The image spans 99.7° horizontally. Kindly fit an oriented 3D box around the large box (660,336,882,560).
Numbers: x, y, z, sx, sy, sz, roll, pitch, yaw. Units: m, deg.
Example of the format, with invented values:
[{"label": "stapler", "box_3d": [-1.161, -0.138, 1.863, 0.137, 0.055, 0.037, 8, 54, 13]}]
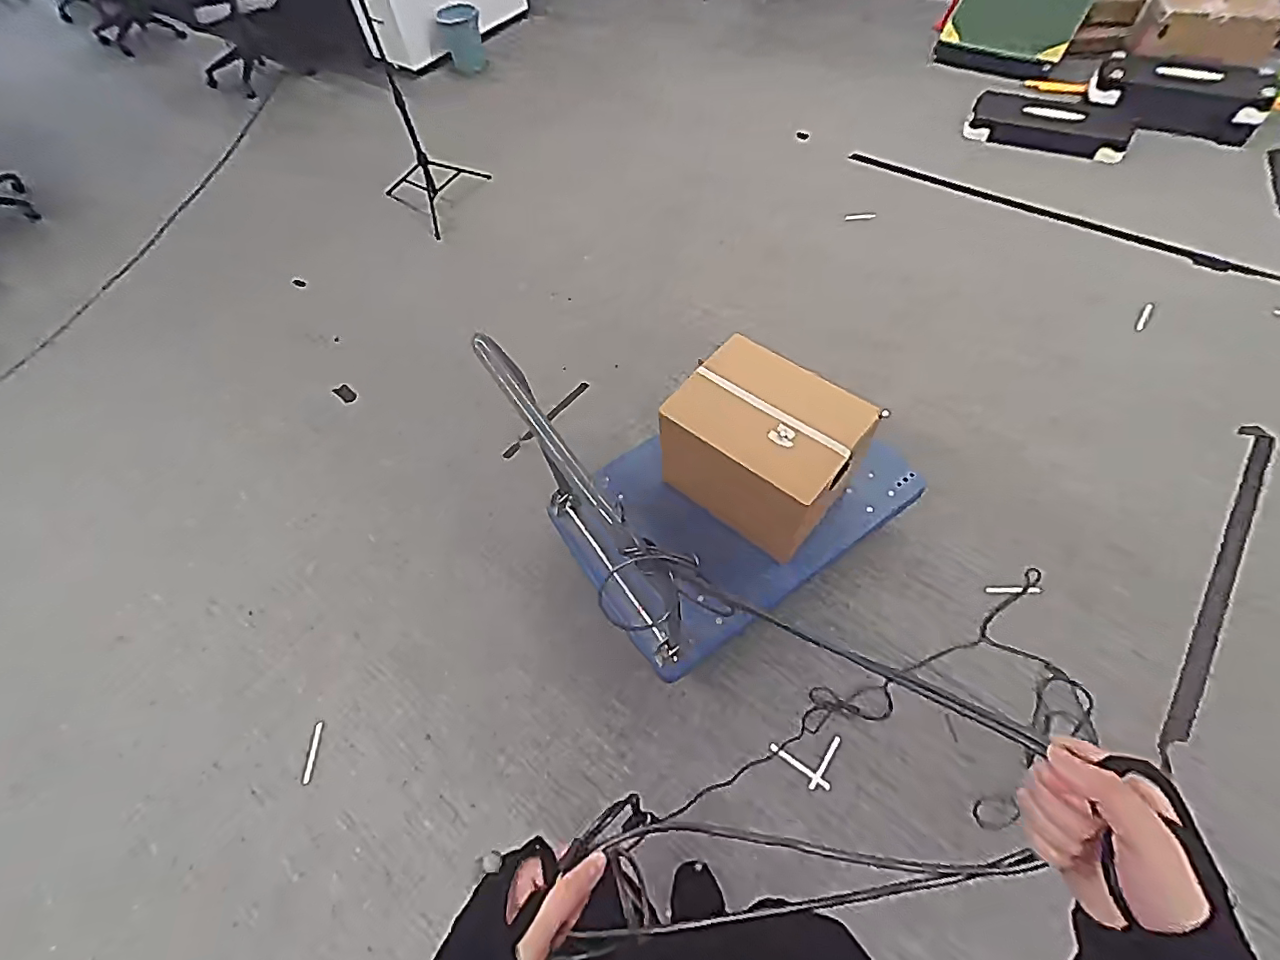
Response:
[{"label": "large box", "box_3d": [0.295, -0.078, 1.336, 0.408, 0.320, 0.320, 36, 69, 22]}]
